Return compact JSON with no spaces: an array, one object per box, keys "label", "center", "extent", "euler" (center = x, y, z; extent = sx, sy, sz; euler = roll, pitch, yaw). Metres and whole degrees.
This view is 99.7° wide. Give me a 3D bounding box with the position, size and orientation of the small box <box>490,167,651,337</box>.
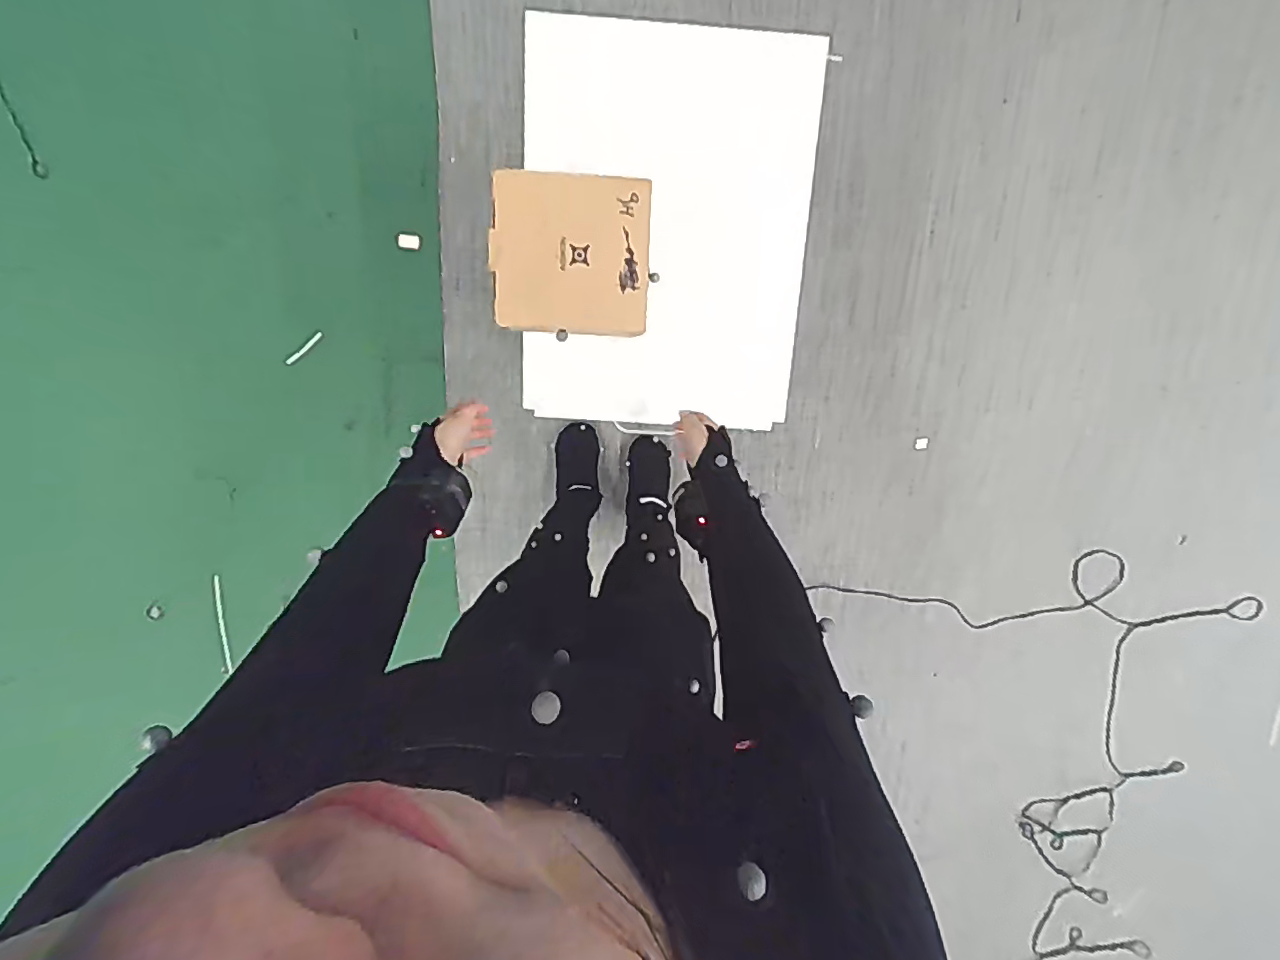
[{"label":"small box","center":[-0.083,-0.272,0.682],"extent":[0.179,0.176,0.168],"euler":[2,103,-4]}]
